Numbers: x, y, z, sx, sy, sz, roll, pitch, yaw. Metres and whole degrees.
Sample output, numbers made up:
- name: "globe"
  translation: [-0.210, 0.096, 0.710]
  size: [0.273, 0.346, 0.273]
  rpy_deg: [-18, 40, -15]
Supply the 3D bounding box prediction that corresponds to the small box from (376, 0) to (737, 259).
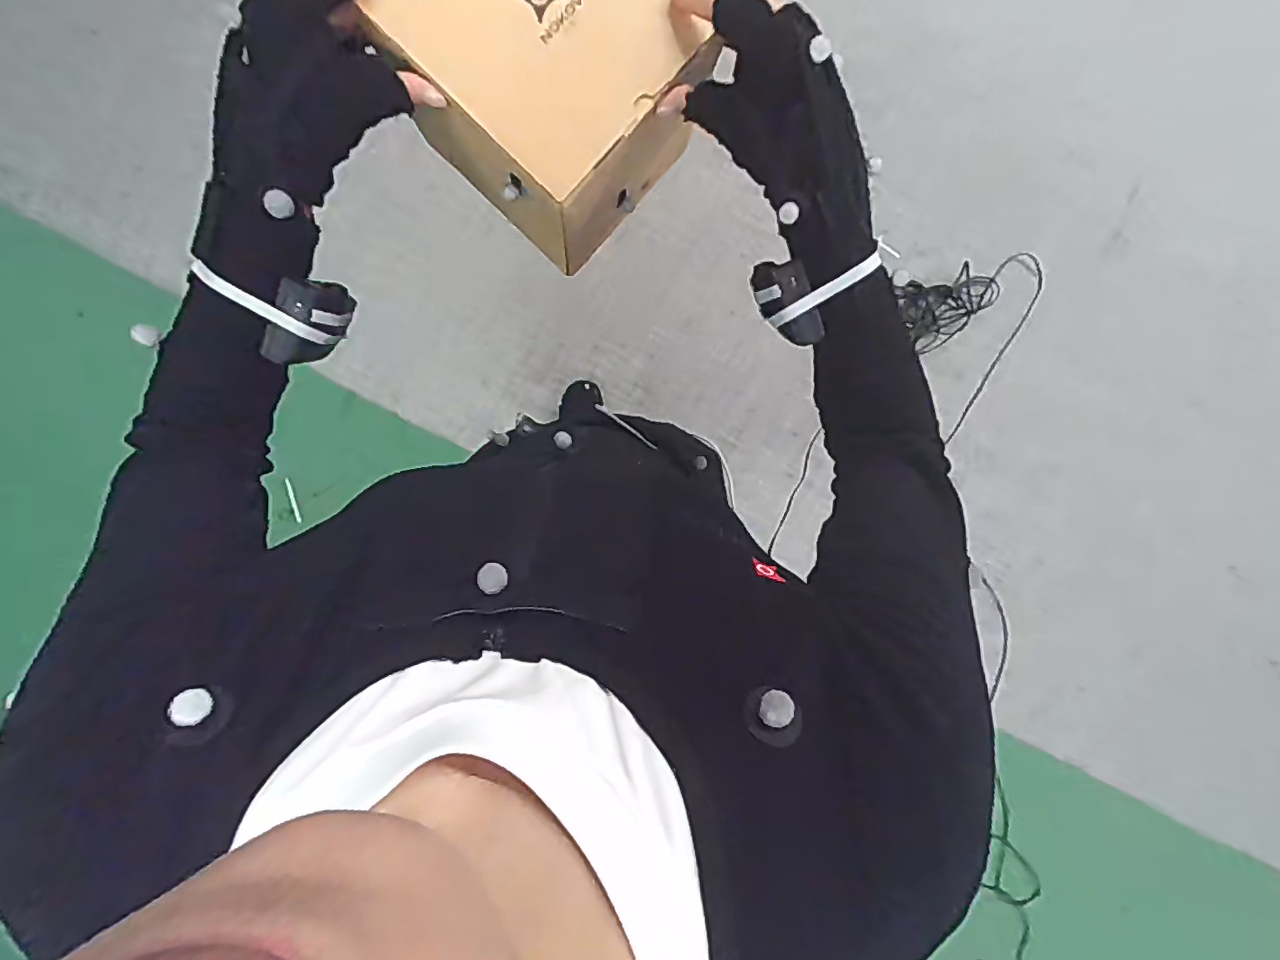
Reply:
- name: "small box"
  translation: [-0.061, -0.307, 0.419]
  size: [0.179, 0.176, 0.168]
  rpy_deg: [43, 90, -9]
